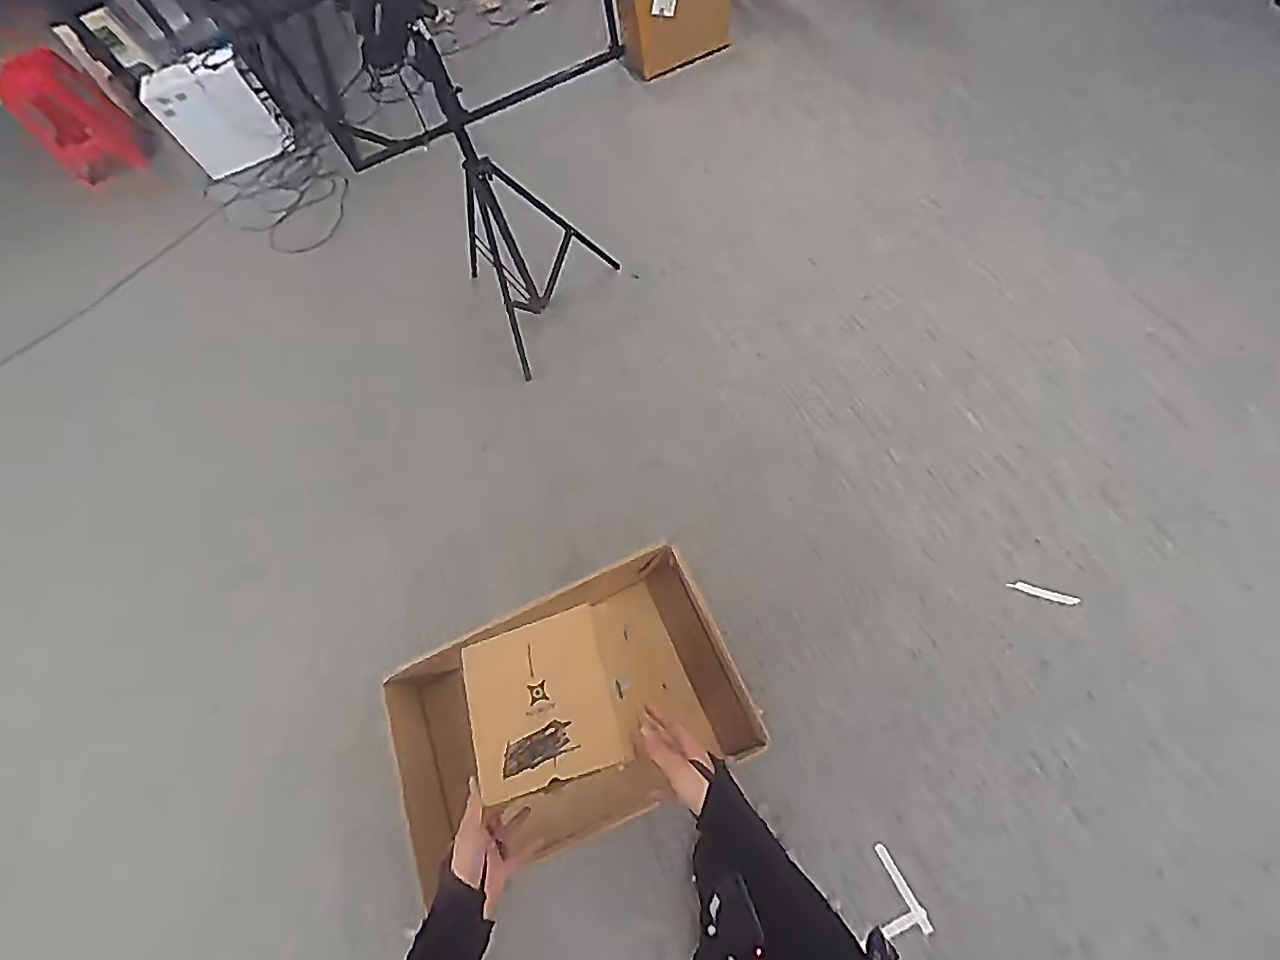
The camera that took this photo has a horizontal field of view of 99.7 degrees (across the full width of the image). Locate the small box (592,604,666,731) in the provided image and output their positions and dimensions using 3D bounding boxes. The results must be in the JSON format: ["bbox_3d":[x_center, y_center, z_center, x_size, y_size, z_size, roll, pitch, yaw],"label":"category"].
[{"bbox_3d":[-0.074,0.317,0.832,0.168,0.176,0.179,-25,64,1],"label":"small box"}]

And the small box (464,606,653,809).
[{"bbox_3d":[-0.093,0.277,0.670,0.168,0.176,0.179,-20,63,3],"label":"small box"}]
